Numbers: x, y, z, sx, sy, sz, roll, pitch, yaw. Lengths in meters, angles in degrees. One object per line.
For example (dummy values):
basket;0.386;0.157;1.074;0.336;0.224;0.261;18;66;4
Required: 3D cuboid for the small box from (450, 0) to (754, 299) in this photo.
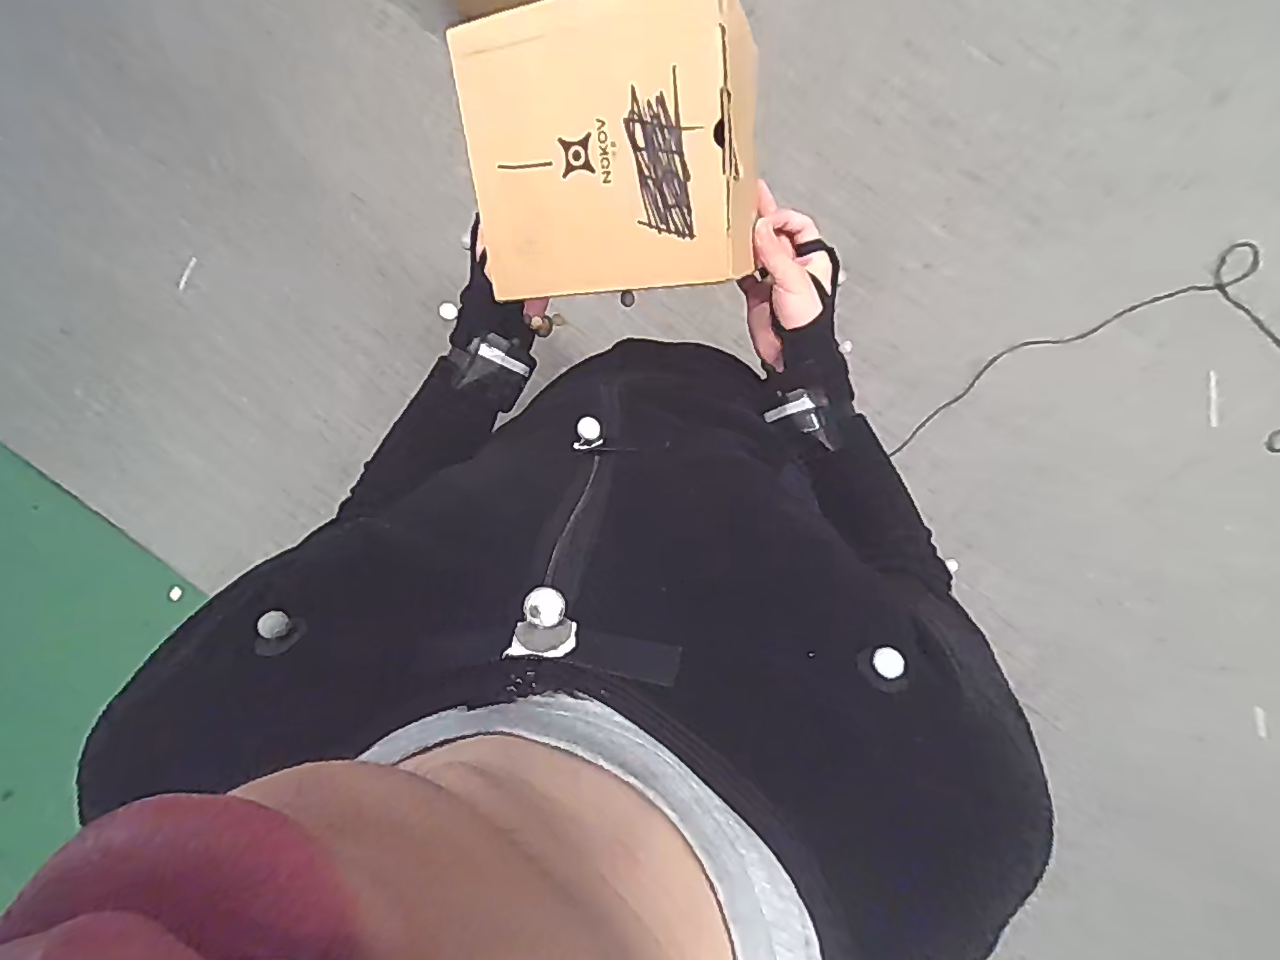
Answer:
small box;-0.007;-0.237;0.412;0.179;0.176;0.168;2;113;18
